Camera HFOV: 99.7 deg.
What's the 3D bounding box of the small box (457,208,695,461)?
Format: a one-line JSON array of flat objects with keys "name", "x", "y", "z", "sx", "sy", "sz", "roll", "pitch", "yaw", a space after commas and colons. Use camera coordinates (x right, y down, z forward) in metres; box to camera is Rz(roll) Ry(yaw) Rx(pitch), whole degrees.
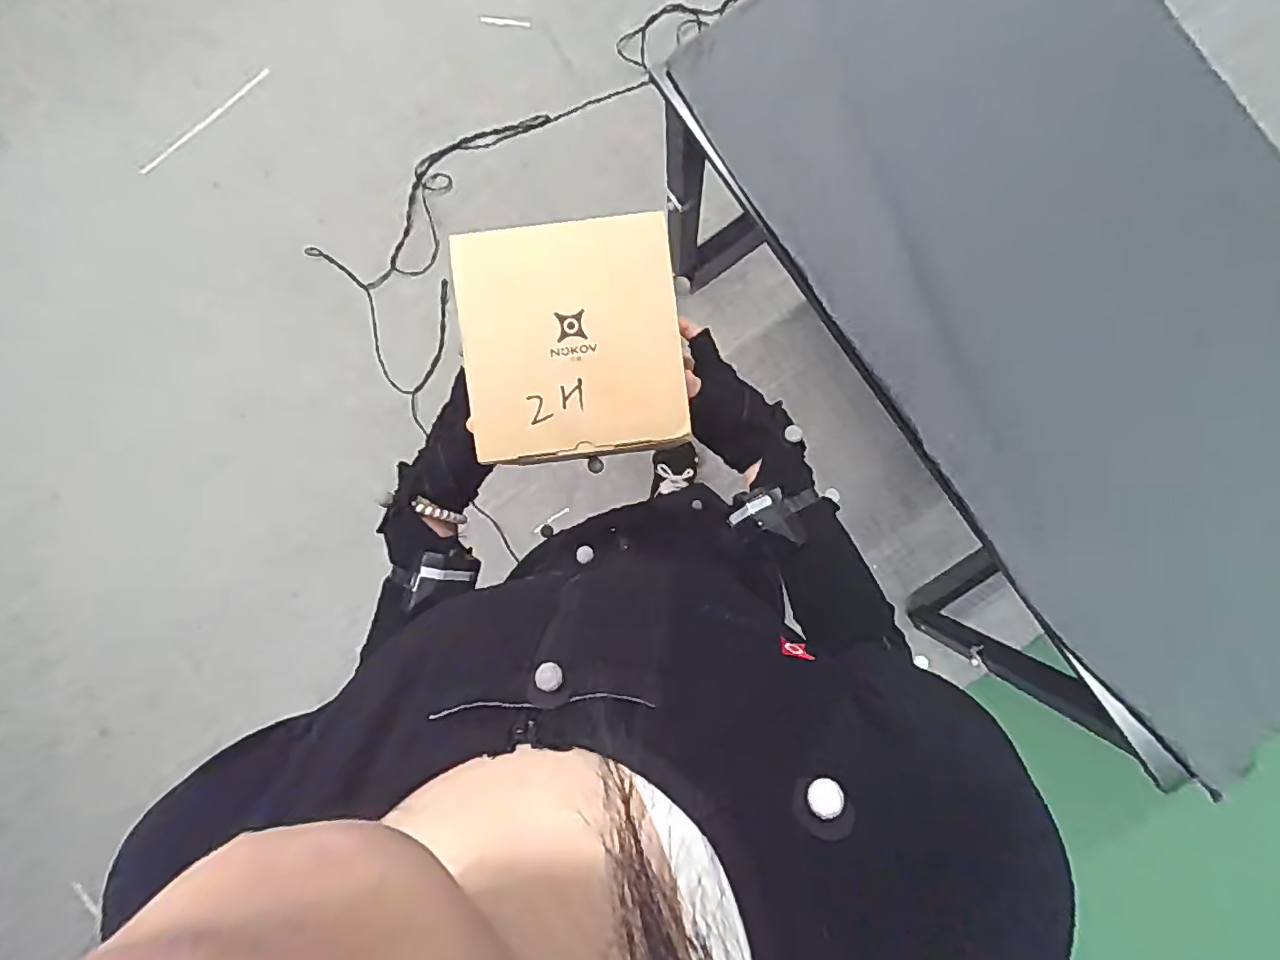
[{"name": "small box", "x": -0.050, "y": -0.113, "z": 0.488, "sx": 0.168, "sy": 0.176, "sz": 0.179, "roll": -7, "pitch": 92, "yaw": -1}]
